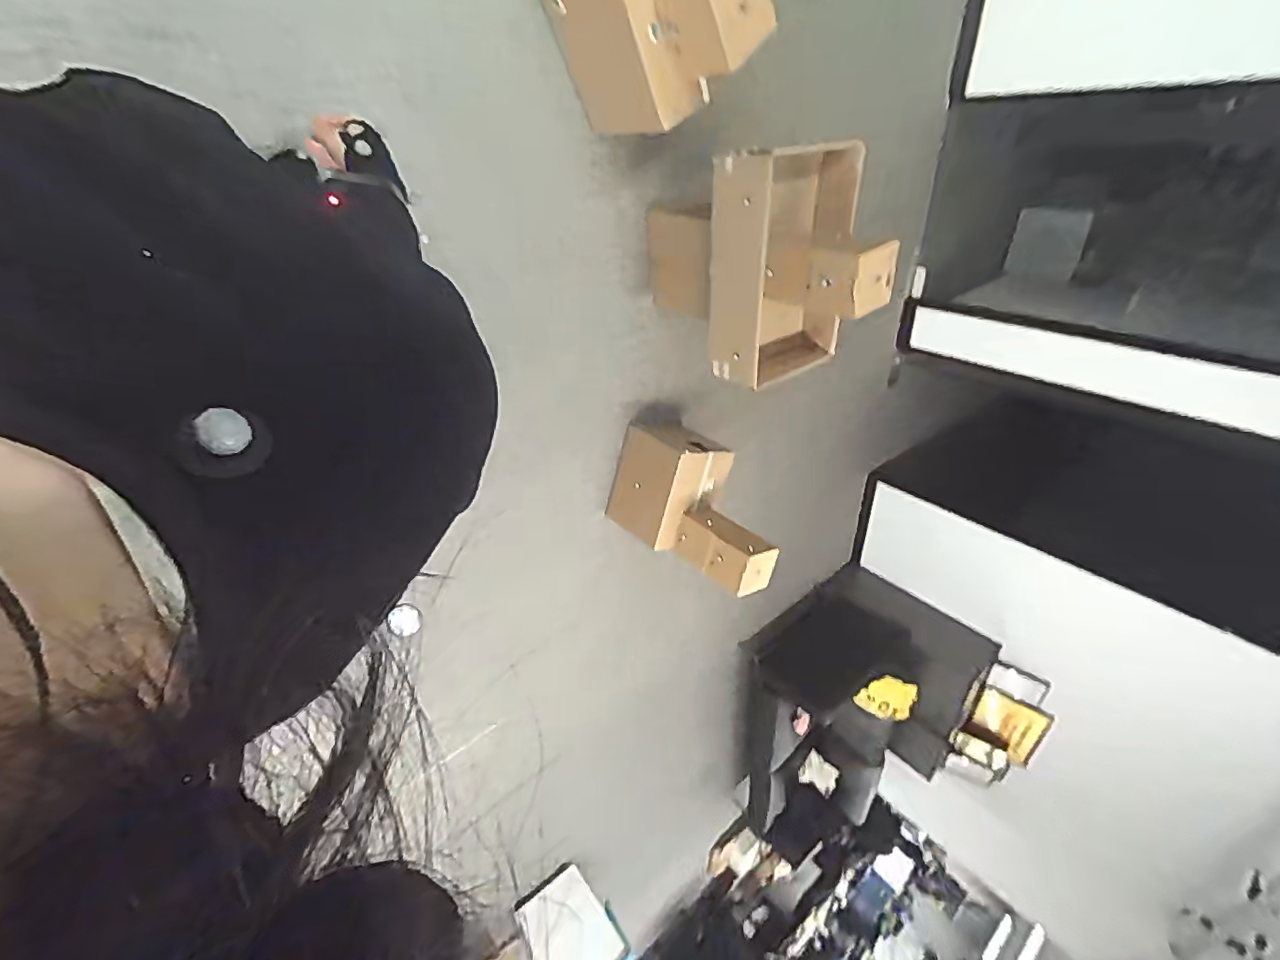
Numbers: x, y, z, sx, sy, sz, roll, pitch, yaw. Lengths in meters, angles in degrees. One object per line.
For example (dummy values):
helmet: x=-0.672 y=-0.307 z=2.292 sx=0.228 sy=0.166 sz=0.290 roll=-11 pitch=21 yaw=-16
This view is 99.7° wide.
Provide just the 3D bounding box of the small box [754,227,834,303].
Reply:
small box: x=0.456 y=-0.631 z=1.573 sx=0.179 sy=0.176 sz=0.168 roll=-27 pitch=130 yaw=-29

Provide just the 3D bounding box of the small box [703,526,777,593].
small box: x=0.359 y=0.280 z=1.960 sx=0.179 sy=0.176 sz=0.168 roll=-8 pitch=119 yaw=-41

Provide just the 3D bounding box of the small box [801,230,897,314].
small box: x=0.558 y=-0.567 z=1.461 sx=0.179 sy=0.176 sz=0.168 roll=-28 pitch=131 yaw=-27
